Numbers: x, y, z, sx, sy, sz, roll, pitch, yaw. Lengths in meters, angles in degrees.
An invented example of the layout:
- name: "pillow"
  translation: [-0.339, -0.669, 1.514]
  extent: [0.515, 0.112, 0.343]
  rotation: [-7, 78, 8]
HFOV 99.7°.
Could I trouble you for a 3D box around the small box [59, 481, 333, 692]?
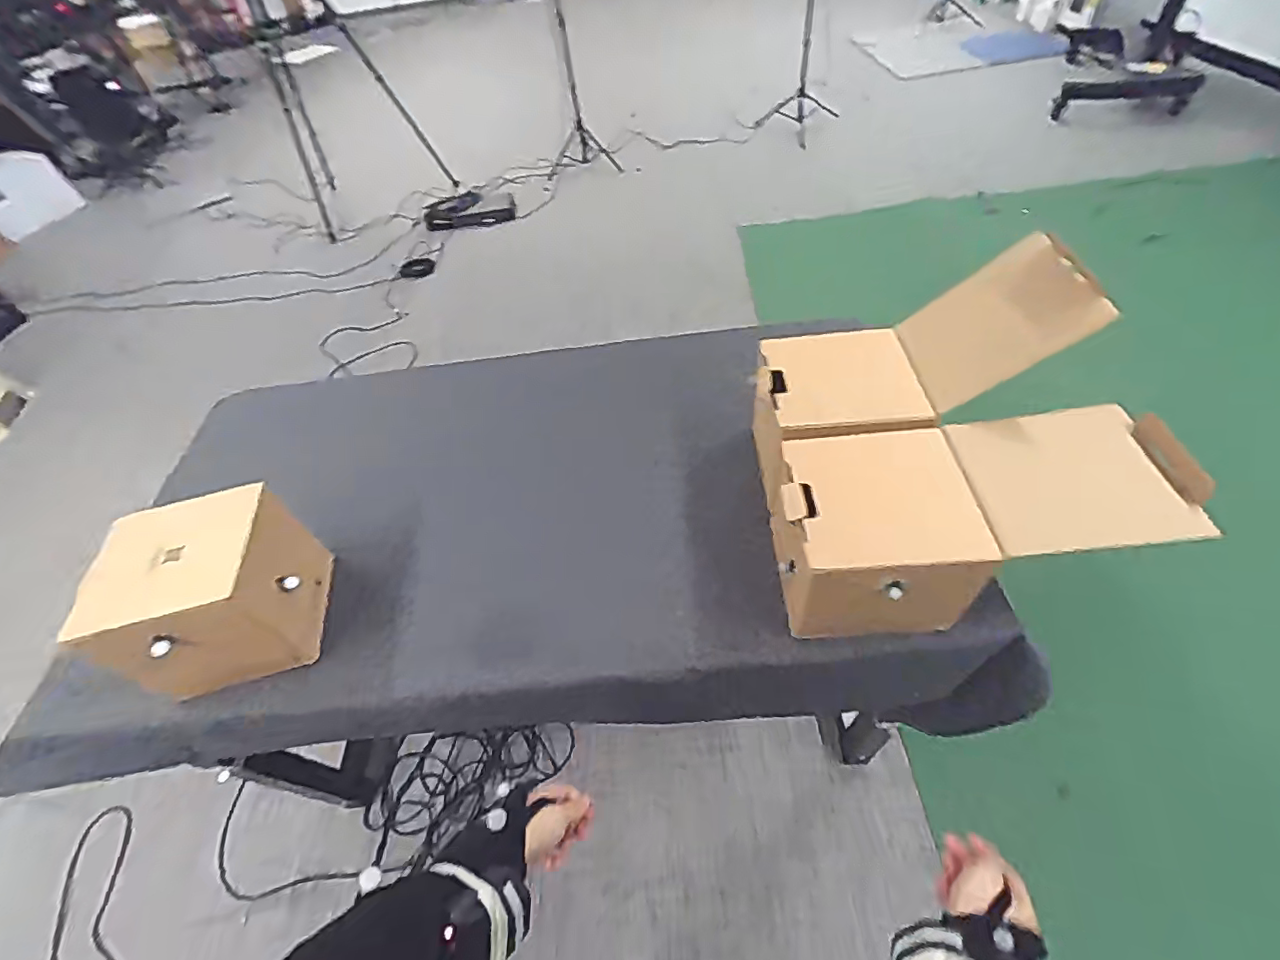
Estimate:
- name: "small box"
  translation: [-0.506, 0.132, 0.656]
  extent: [0.179, 0.176, 0.168]
  rotation: [-15, 49, -4]
